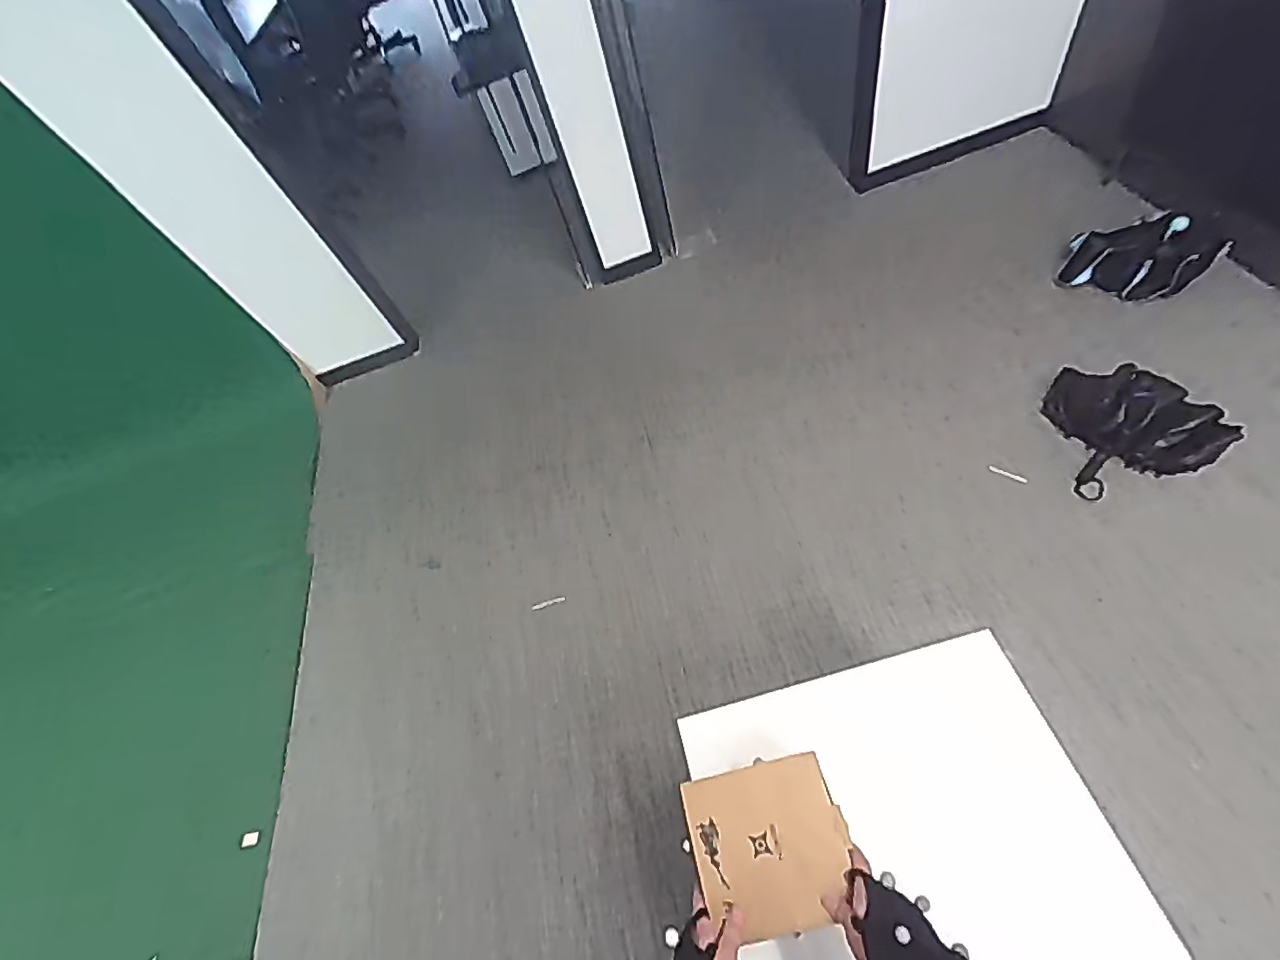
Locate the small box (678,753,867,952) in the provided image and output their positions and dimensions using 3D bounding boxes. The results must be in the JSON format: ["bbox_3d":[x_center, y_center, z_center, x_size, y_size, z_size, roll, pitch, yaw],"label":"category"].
[{"bbox_3d":[0.159,0.461,0.686,0.179,0.176,0.168,-16,55,3],"label":"small box"}]
